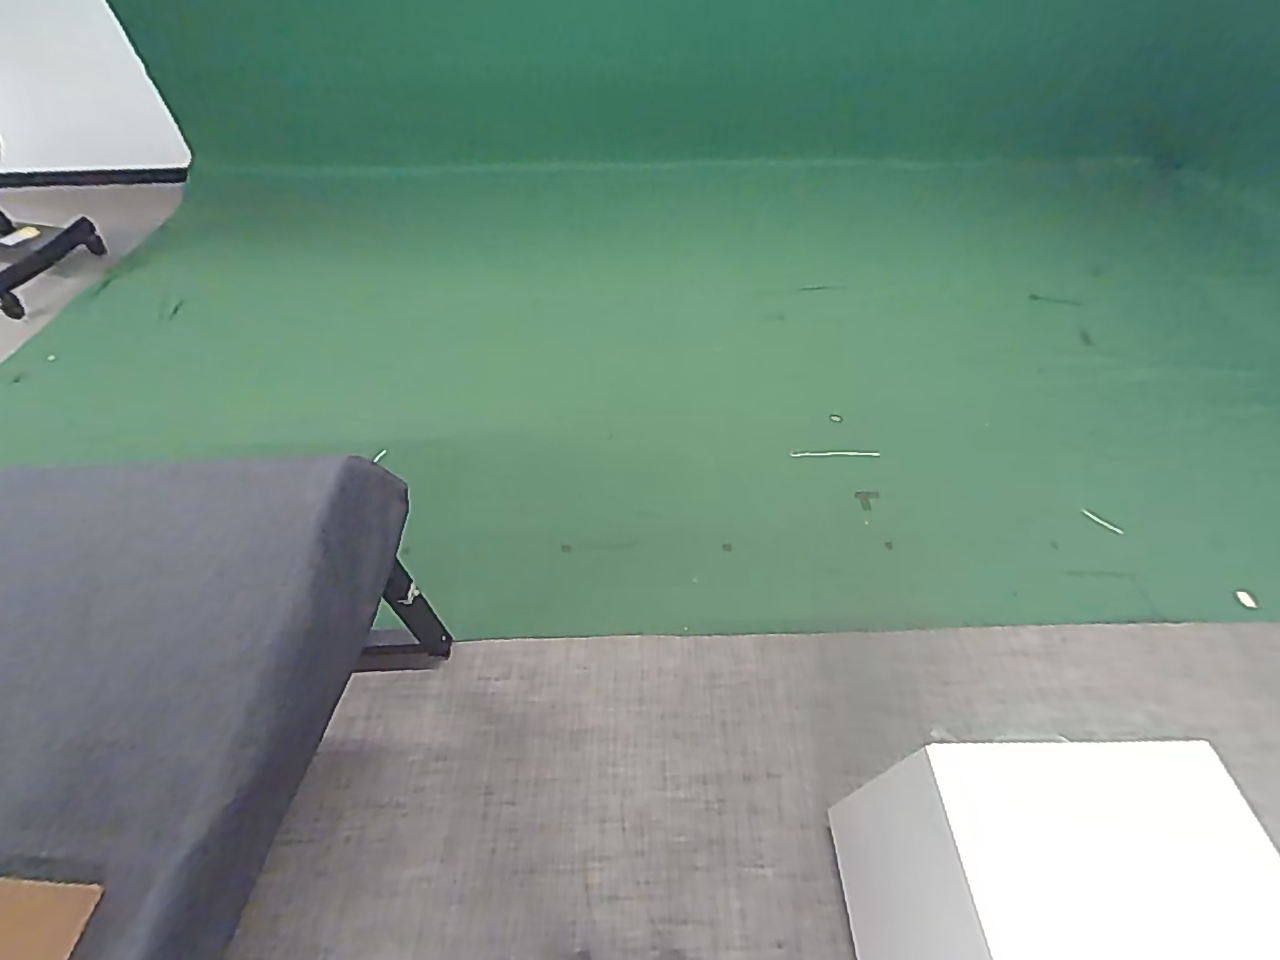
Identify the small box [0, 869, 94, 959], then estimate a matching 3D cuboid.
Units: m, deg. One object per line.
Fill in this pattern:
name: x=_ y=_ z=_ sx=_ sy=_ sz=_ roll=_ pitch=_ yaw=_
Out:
small box: x=-0.640 y=0.433 z=0.452 sx=0.168 sy=0.176 sz=0.179 roll=0 pitch=51 yaw=2
